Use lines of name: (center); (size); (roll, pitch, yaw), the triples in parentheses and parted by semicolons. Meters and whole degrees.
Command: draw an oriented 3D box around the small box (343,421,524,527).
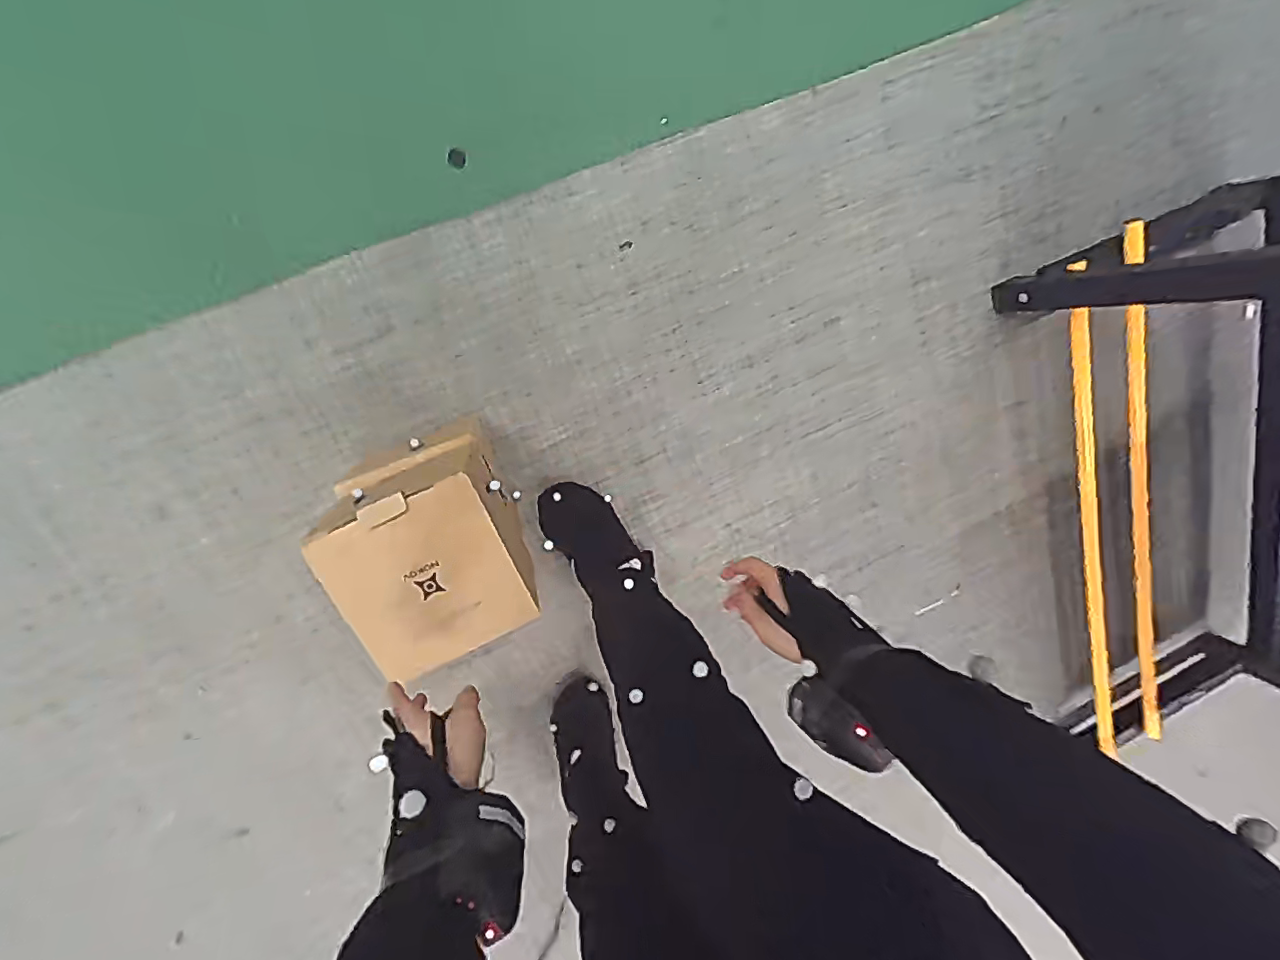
small box: (-0.272, 0.029, 0.755); (0.179, 0.176, 0.168); (-23, 108, -8)

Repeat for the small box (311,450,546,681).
small box: (-0.221, 0.079, 0.608); (0.168, 0.176, 0.179); (-26, 110, -6)
